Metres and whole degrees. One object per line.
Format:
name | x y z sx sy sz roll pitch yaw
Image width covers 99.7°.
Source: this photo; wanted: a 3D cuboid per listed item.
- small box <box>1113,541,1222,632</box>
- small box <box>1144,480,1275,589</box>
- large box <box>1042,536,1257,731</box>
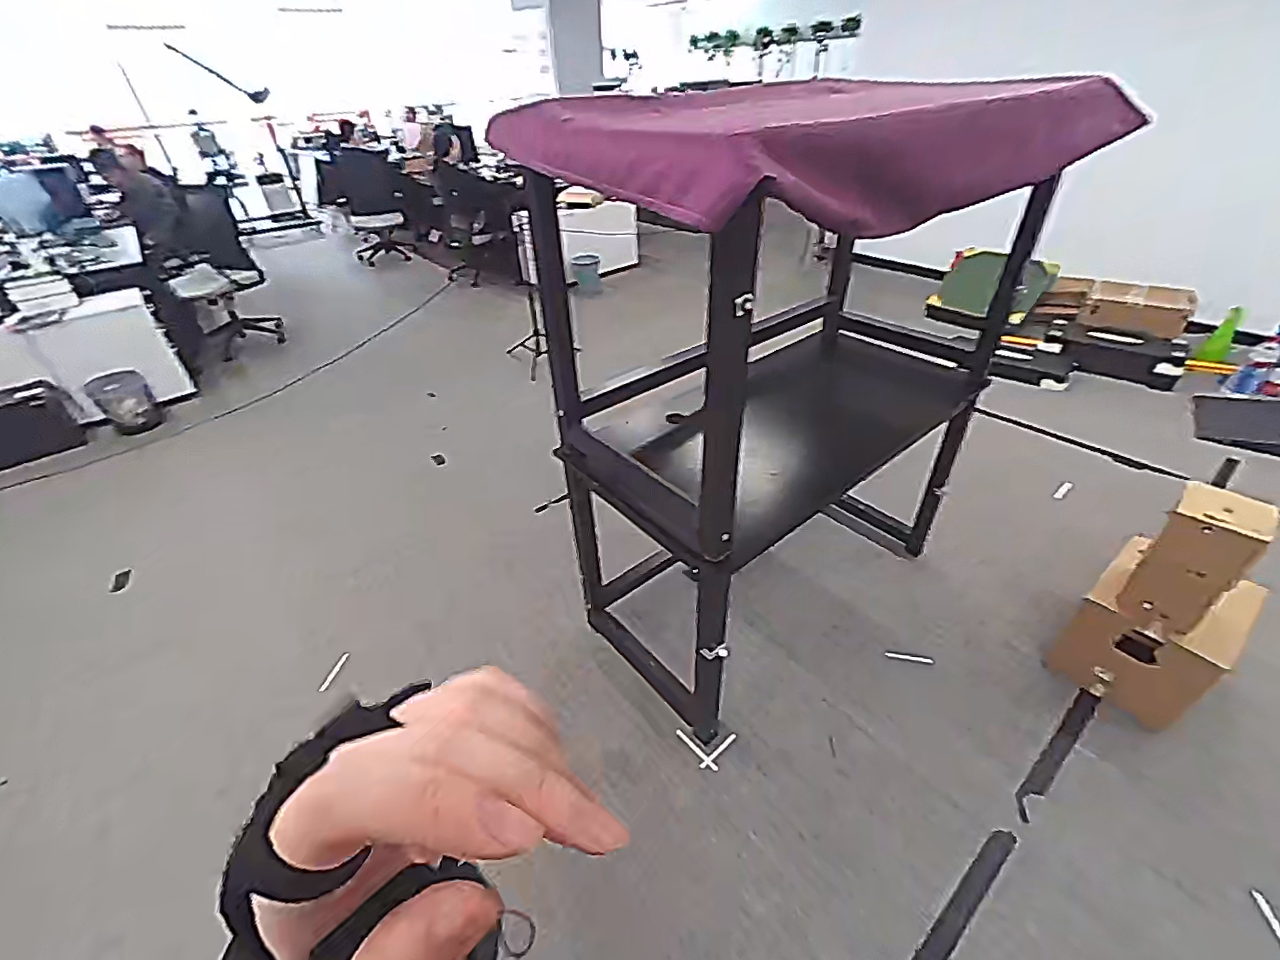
small box | 1.416 0.265 1.440 0.179 0.176 0.168 -29 43 -29
small box | 1.407 0.134 1.342 0.179 0.176 0.168 -30 42 -32
large box | 1.493 0.442 1.606 0.408 0.320 0.320 -27 44 -29
